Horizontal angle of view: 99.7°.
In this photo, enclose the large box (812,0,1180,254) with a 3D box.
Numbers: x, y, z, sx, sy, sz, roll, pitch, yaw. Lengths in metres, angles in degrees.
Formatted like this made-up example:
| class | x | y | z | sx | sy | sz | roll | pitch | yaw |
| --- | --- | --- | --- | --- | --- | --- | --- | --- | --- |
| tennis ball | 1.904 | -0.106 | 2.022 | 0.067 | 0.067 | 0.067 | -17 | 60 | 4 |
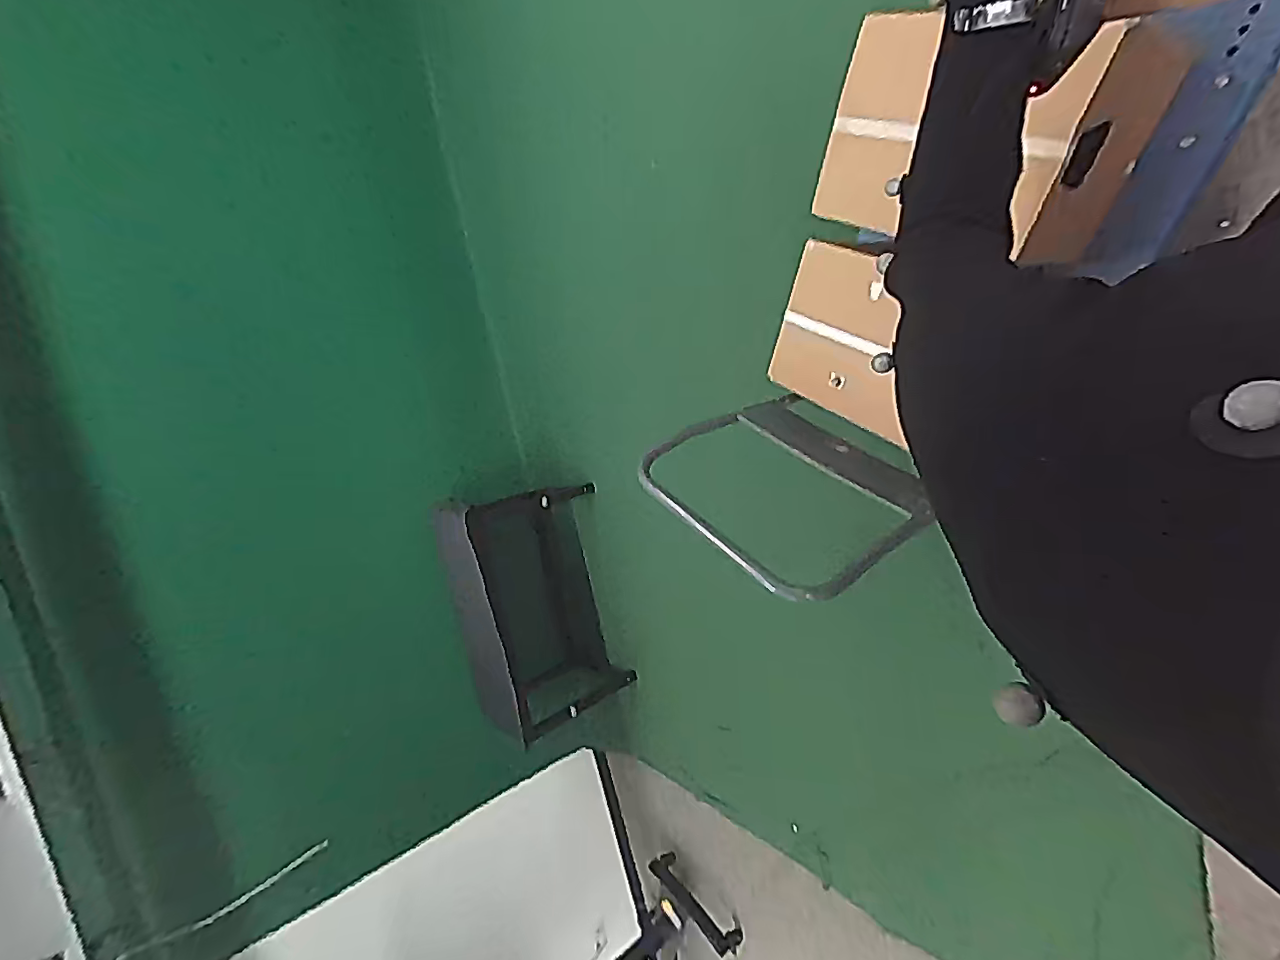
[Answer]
| class | x | y | z | sx | sy | sz | roll | pitch | yaw |
| --- | --- | --- | --- | --- | --- | --- | --- | --- | --- |
| large box | 0.598 | -0.611 | 0.967 | 0.408 | 0.320 | 0.320 | 40 | 134 | 38 |
